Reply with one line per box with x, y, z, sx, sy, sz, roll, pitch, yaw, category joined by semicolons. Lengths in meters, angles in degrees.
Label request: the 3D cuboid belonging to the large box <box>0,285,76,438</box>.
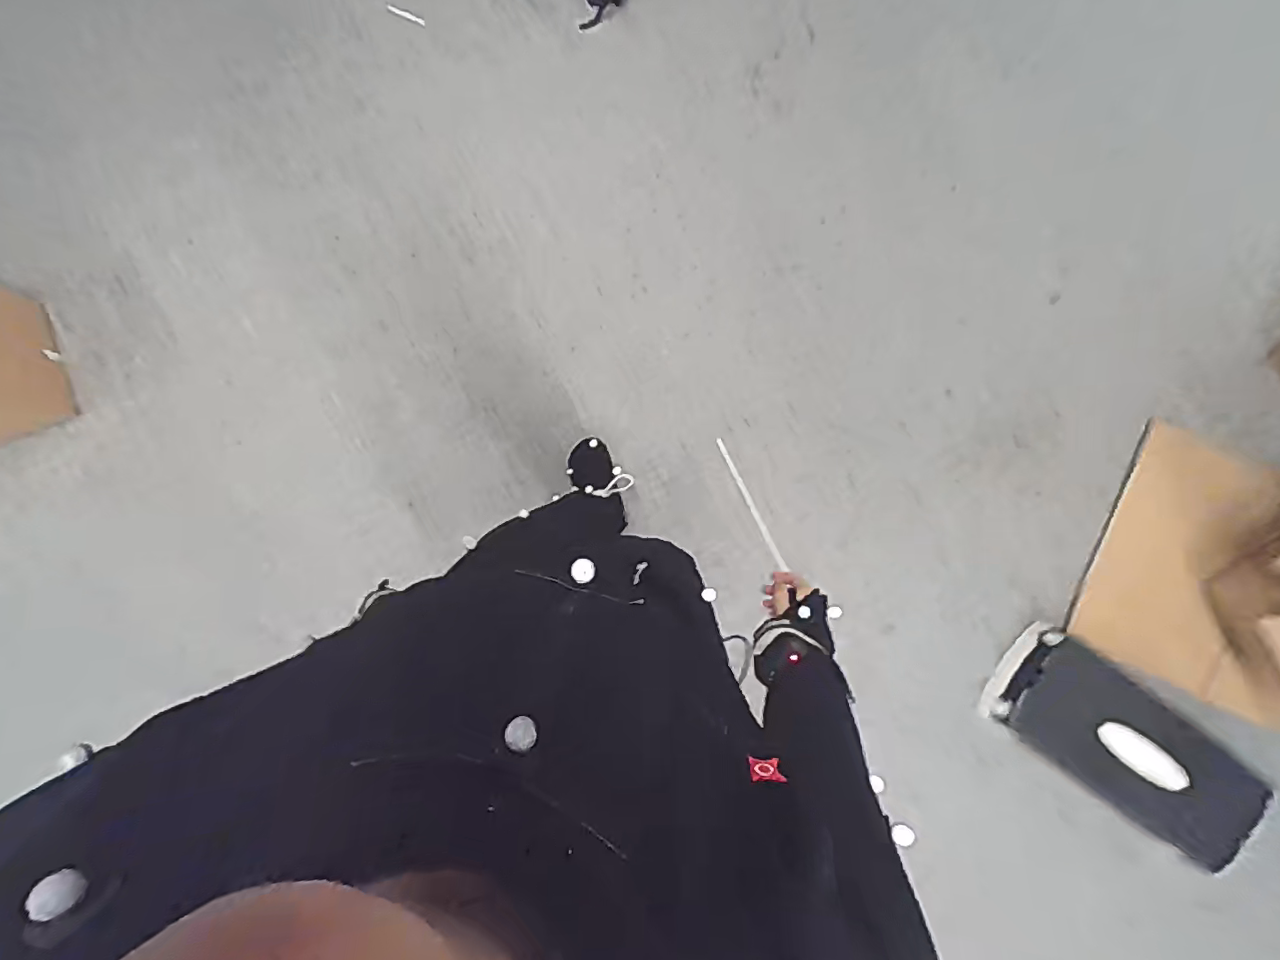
-1.597;-0.244;1.158;0.408;0.320;0.320;-20;90;-3;large box
